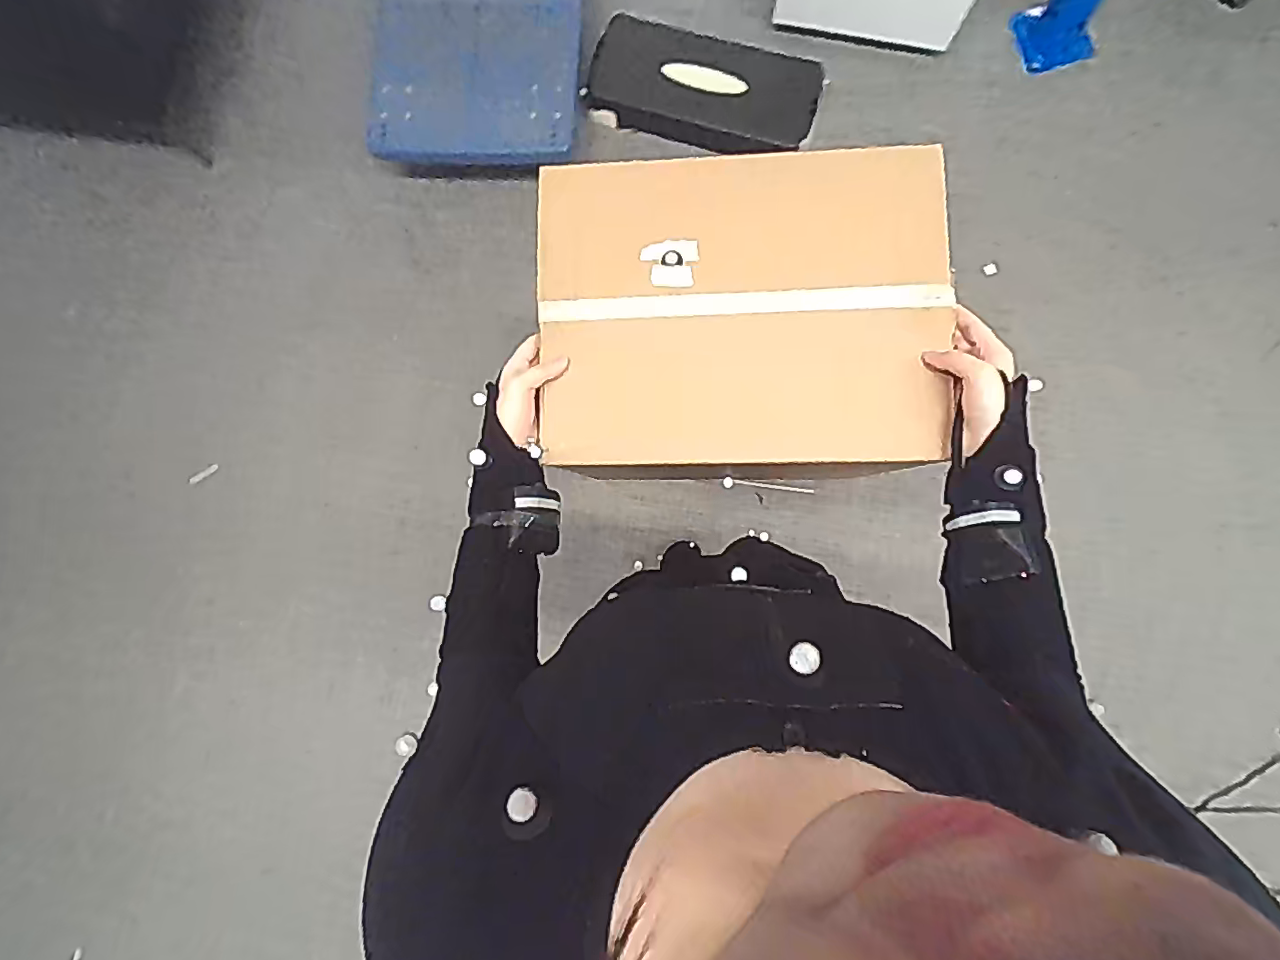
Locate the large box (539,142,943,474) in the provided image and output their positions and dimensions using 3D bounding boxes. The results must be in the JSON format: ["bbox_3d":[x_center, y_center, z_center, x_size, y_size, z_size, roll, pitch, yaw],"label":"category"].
[{"bbox_3d":[0.111,-0.171,0.698,0.408,0.320,0.320,-1,87,6],"label":"large box"}]
